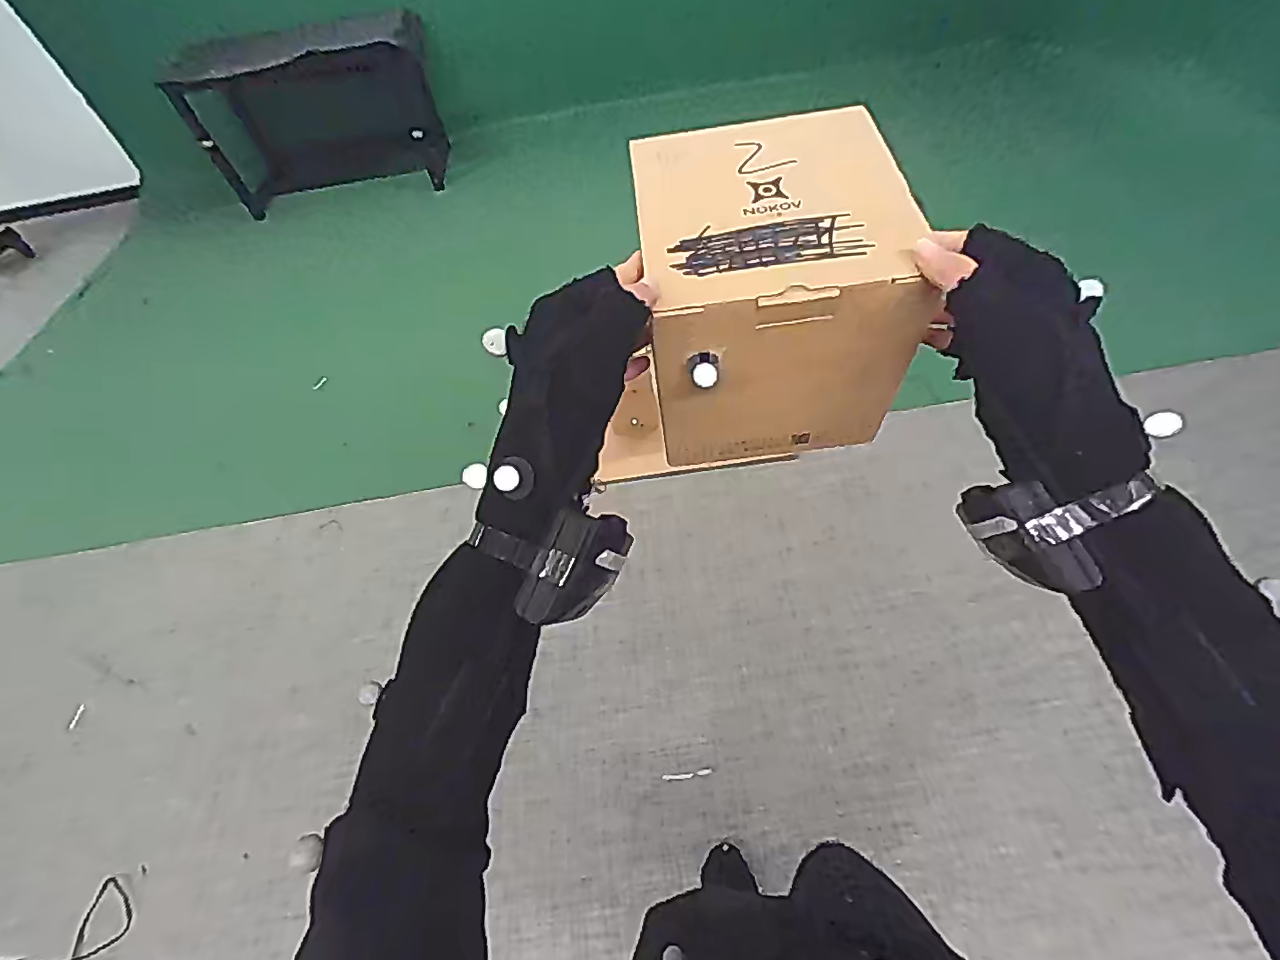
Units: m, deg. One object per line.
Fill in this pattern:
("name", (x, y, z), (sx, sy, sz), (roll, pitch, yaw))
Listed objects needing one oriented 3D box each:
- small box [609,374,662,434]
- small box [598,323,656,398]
("small box", (-0.019, -0.289, 1.915), (0.168, 0.176, 0.179), (-10, 52, 3))
("small box", (-0.042, -0.388, 1.787), (0.168, 0.176, 0.179), (-8, 51, 4))
